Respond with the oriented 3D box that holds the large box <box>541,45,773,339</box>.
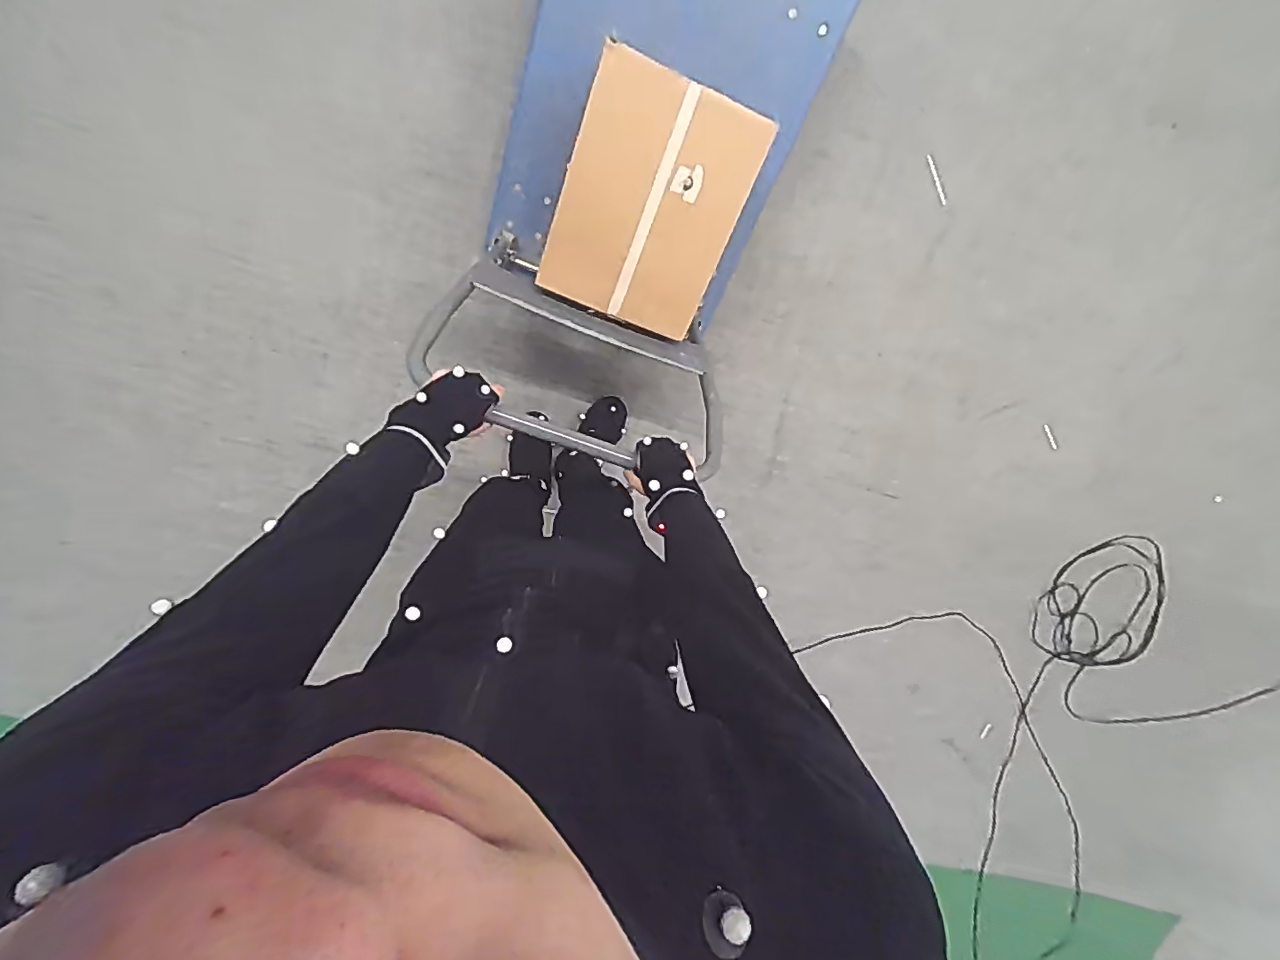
[{"bbox_3d":[0.015,-0.563,1.112,0.320,0.320,0.408,18,118,-13],"label":"large box"}]
